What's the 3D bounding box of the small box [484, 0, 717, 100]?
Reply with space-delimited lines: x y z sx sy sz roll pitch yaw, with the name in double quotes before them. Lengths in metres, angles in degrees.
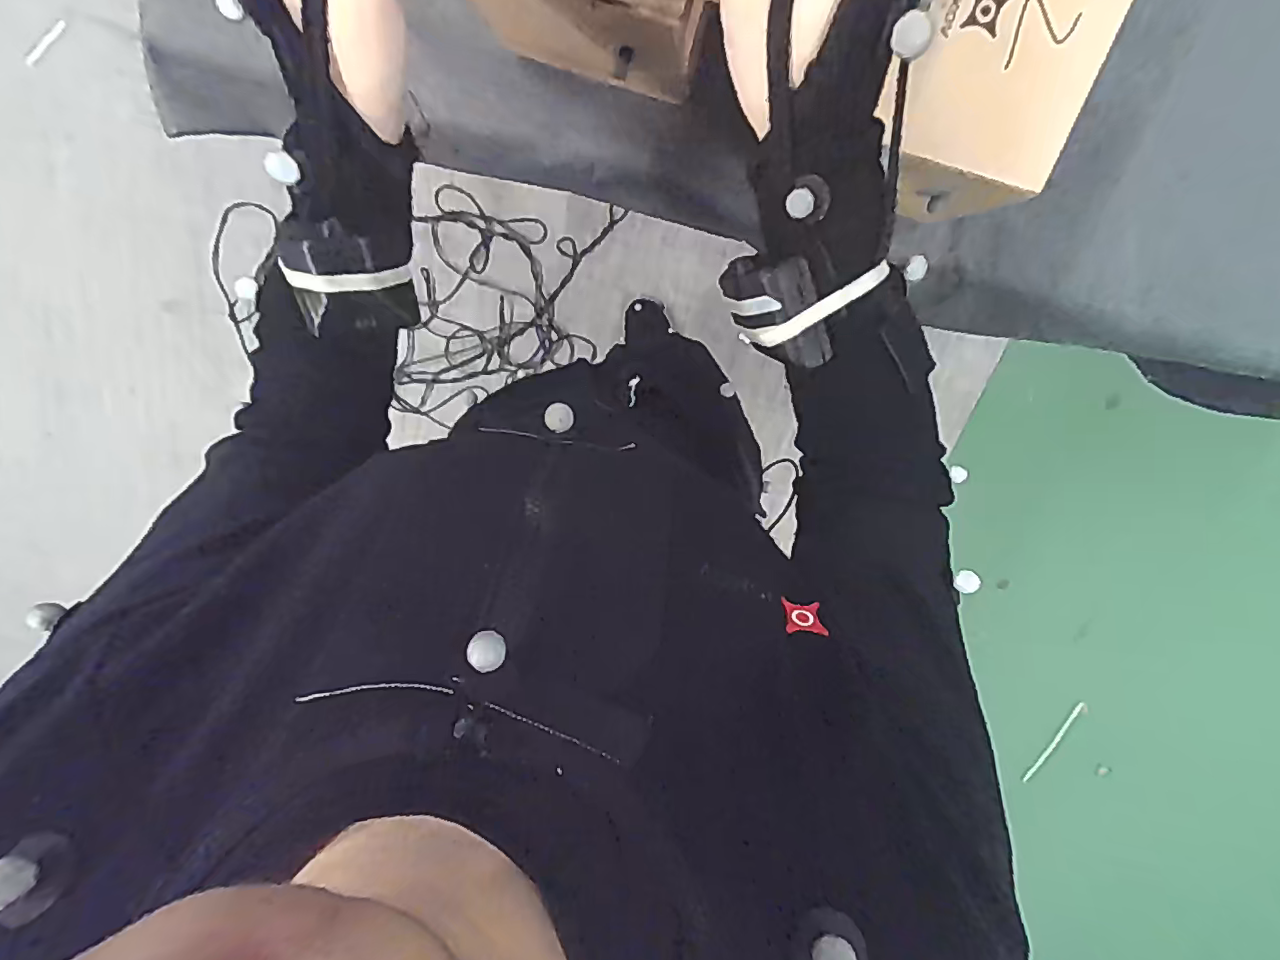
"small box" -0.018 -0.411 0.385 0.168 0.176 0.179 16 109 -1
